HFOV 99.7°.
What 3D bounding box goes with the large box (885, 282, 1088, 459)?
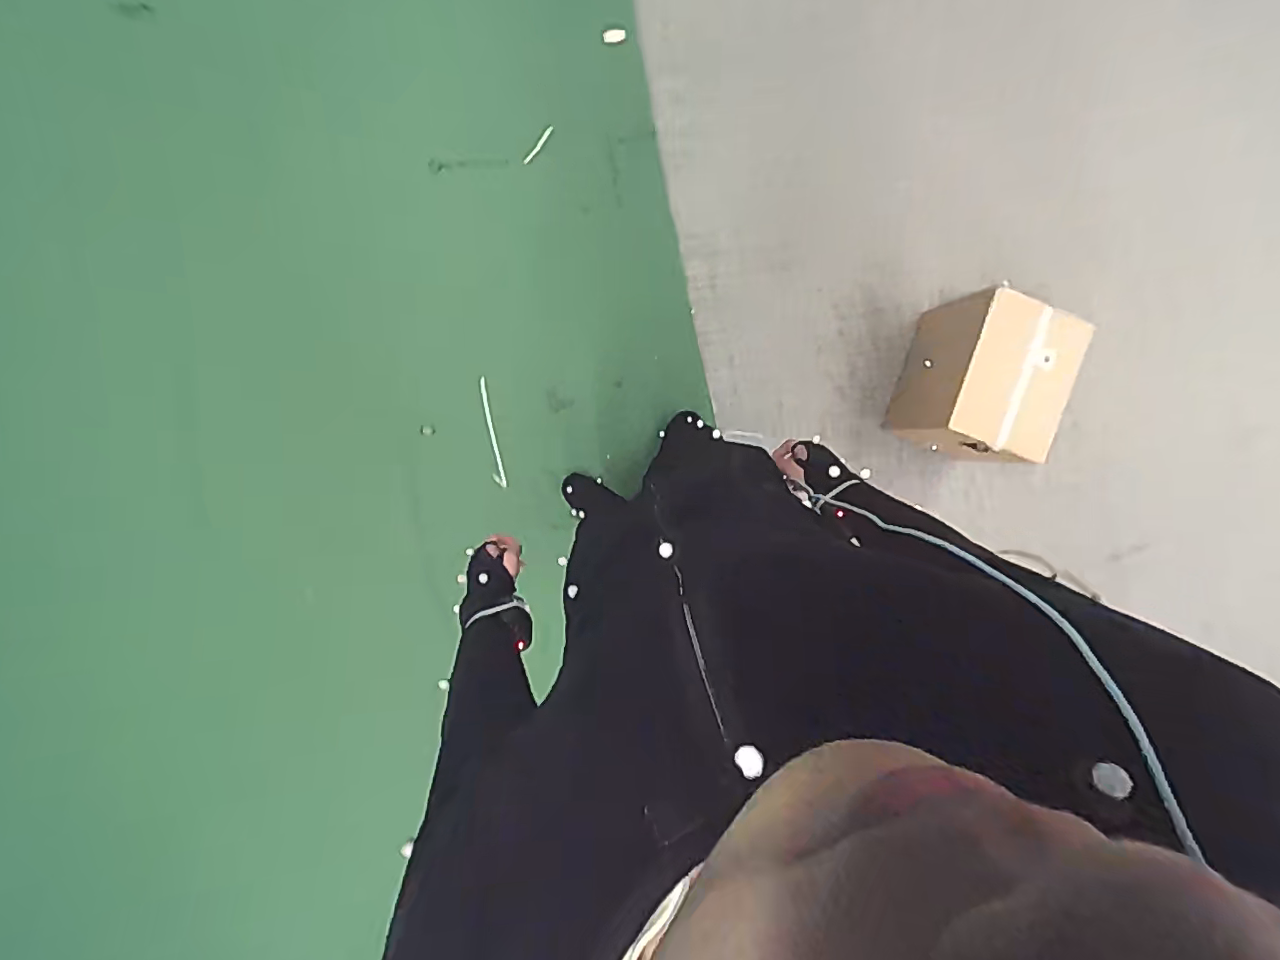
[{"bbox_3d":[0.987,-0.294,1.584,0.320,0.320,0.408,18,91,-8],"label":"large box"}]
